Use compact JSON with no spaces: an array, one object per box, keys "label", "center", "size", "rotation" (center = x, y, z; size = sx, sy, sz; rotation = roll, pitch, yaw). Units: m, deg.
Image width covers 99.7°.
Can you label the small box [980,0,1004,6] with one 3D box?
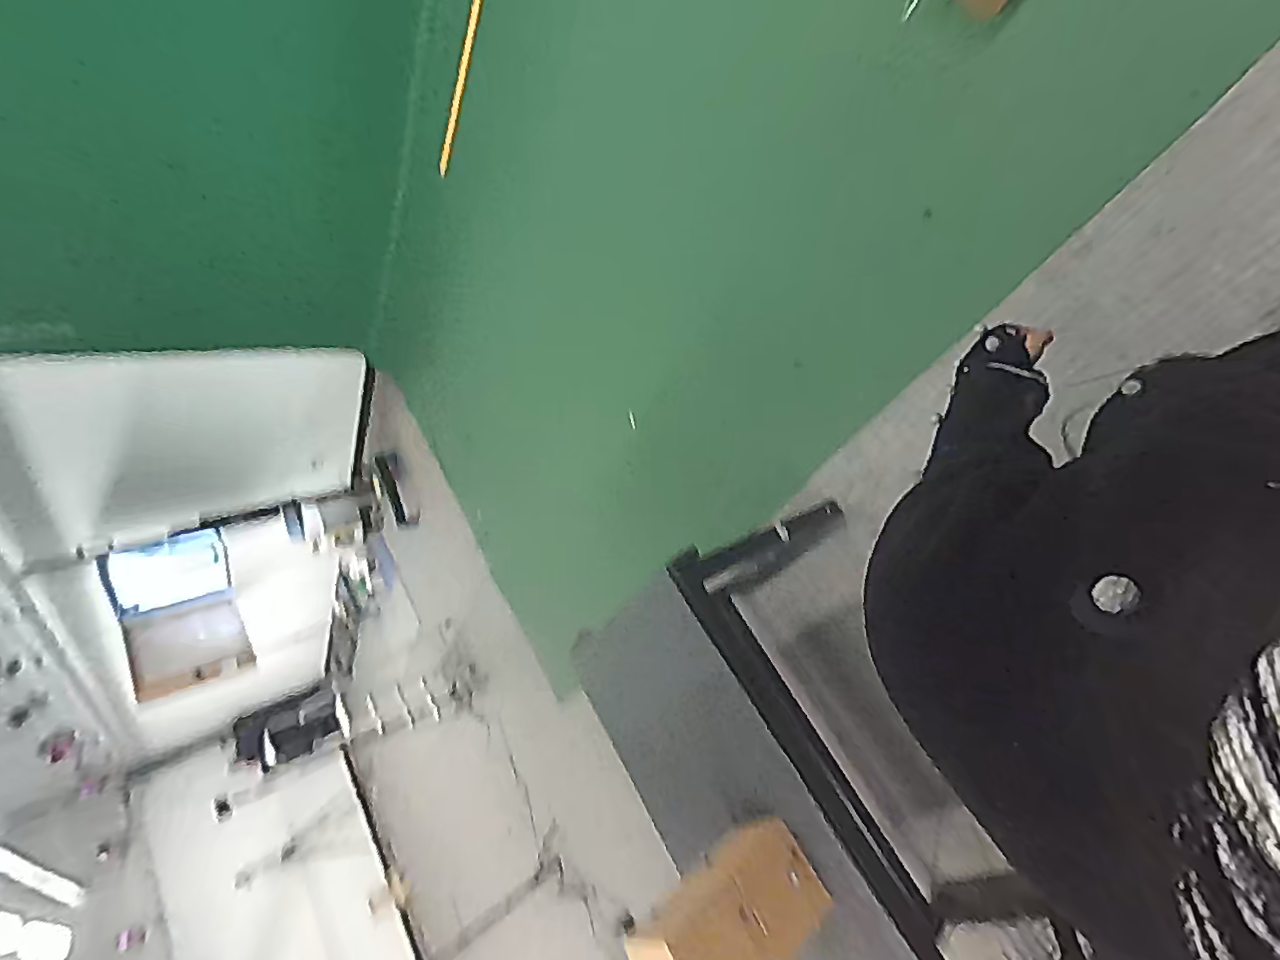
[{"label":"small box","center":[0.707,-1.114,1.091],"size":[0.179,0.176,0.168],"rotation":[57,136,19]}]

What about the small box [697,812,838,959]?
[{"label":"small box","center":[0.252,0.794,1.066],"size":[0.168,0.176,0.179],"rotation":[56,136,20]}]
